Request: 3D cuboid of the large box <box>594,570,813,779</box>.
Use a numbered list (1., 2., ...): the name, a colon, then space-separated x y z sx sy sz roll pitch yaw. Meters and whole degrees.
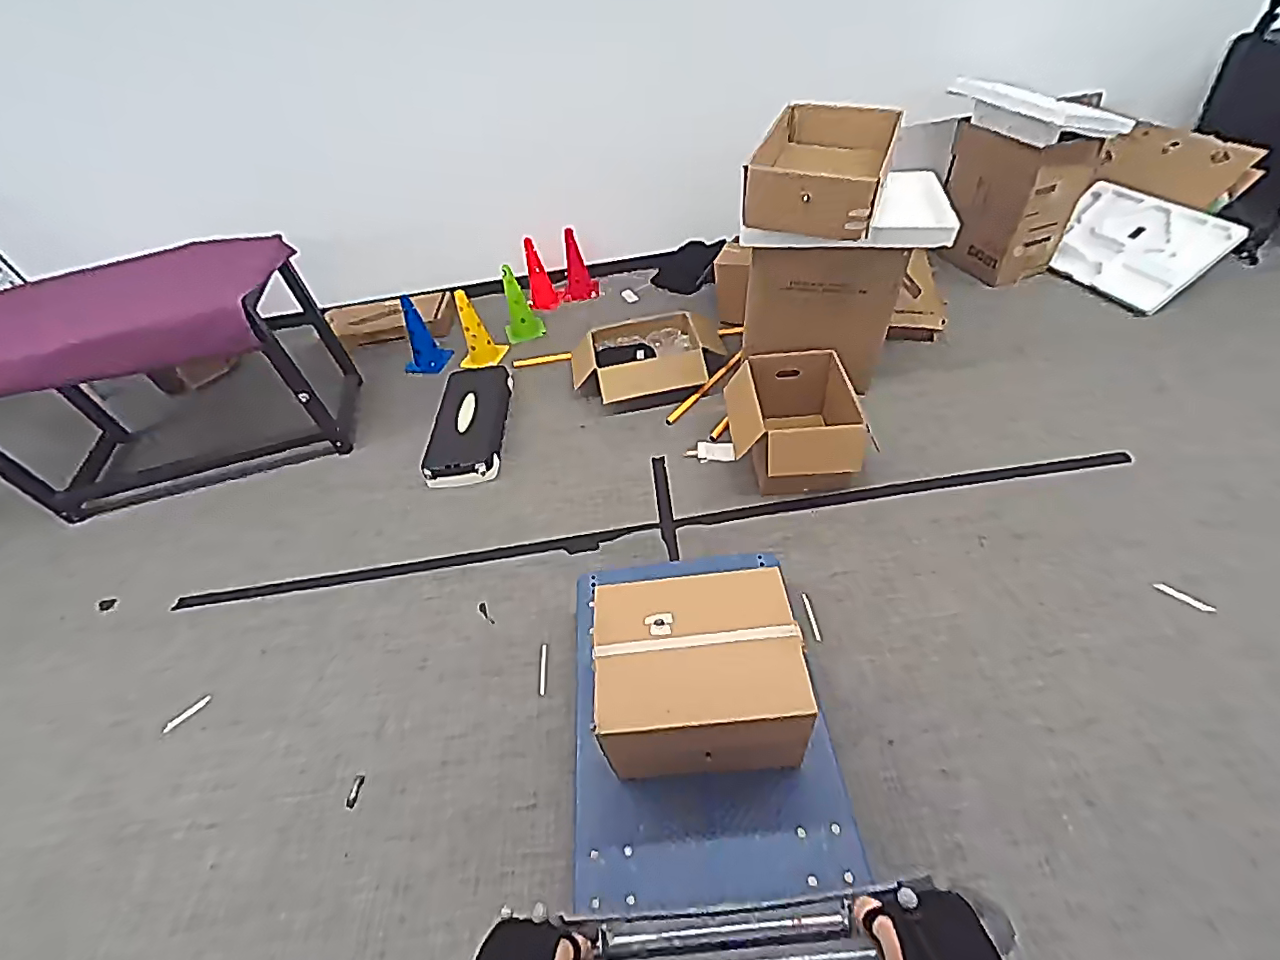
1. large box: 0.128 0.433 1.190 0.408 0.320 0.320 -8 46 3
